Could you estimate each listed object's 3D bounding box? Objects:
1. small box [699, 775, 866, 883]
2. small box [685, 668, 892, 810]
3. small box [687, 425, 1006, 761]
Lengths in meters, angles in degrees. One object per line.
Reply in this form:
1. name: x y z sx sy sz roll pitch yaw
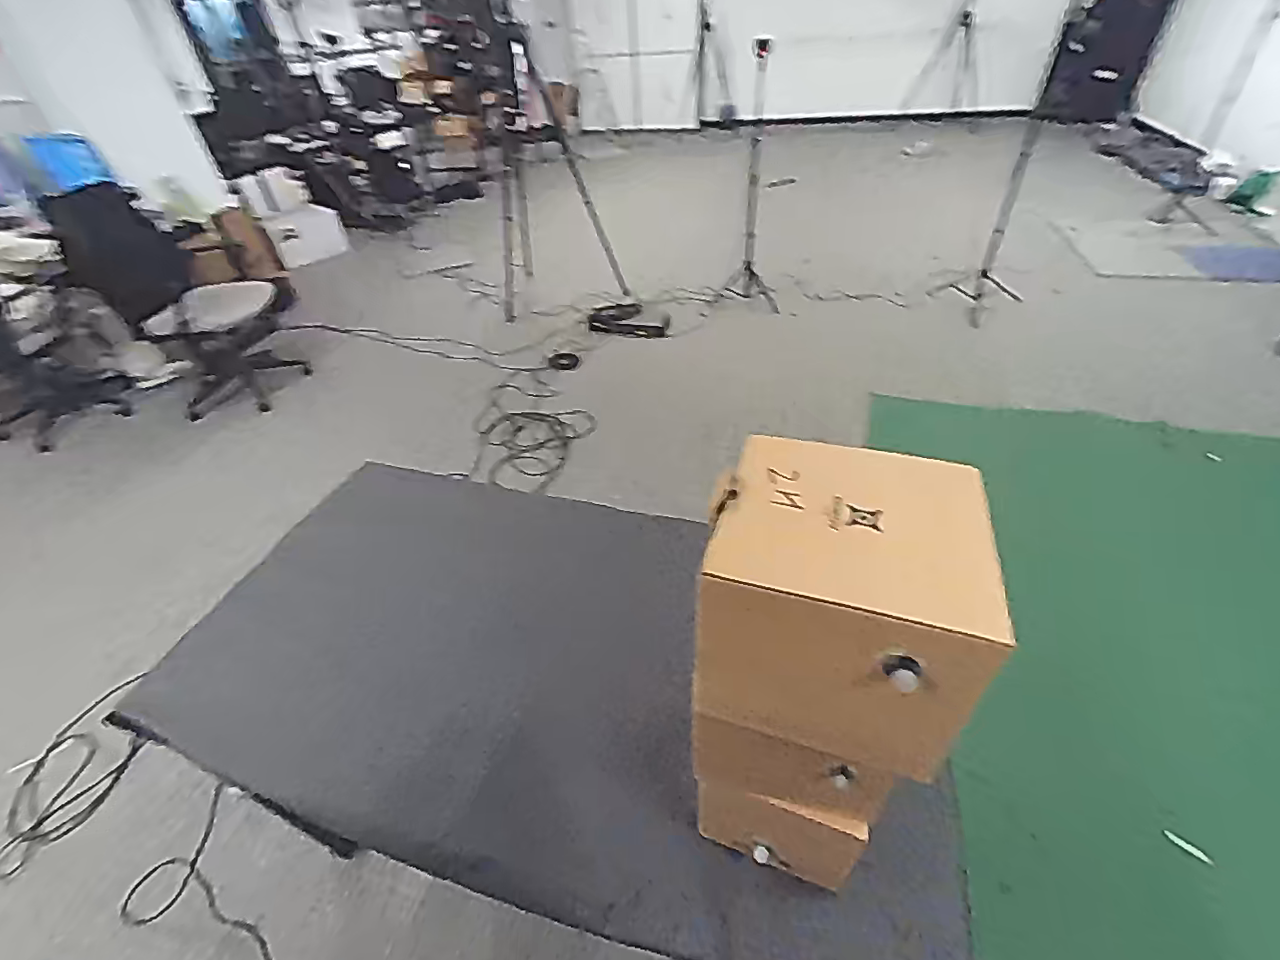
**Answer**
1. small box: 0.169 0.322 0.634 0.168 0.176 0.179 12 42 20
2. small box: 0.148 0.195 0.535 0.179 0.176 0.168 6 39 15
3. small box: 0.142 0.082 0.413 0.179 0.176 0.168 10 40 18
